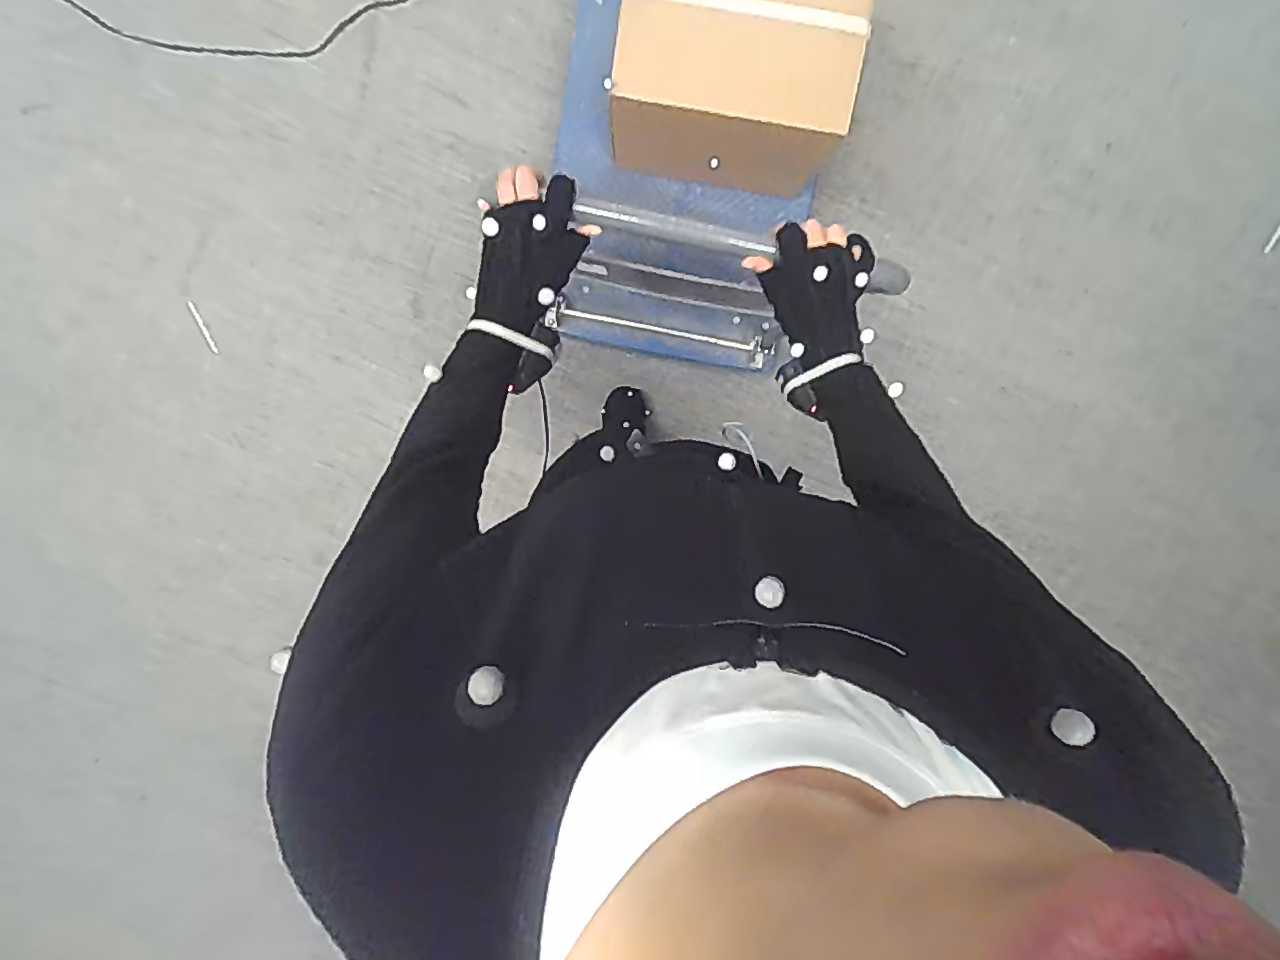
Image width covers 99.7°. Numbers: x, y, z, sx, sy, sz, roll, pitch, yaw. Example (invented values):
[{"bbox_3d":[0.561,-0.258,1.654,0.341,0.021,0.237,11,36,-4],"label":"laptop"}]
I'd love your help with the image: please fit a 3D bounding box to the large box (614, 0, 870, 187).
[{"bbox_3d":[0.174,-0.789,1.022,0.408,0.320,0.320,8,99,-1],"label":"large box"}]
